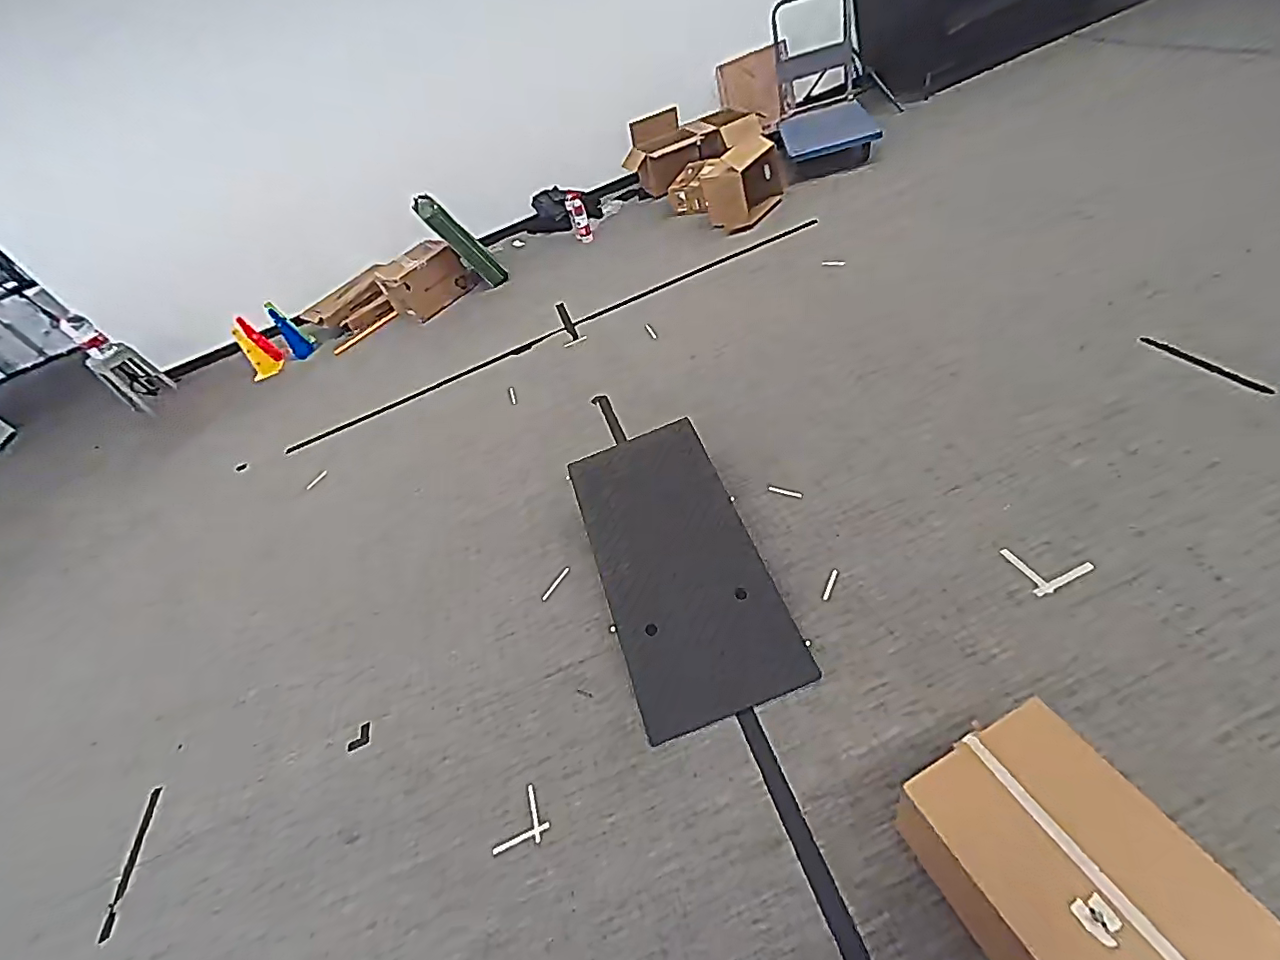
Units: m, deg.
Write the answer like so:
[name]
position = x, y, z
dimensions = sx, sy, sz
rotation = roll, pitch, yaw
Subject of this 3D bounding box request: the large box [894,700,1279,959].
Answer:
[large box]
position = 0.725, 0.691, 0.958
dimensions = 0.320, 0.320, 0.408
rotation = -29, 45, -6

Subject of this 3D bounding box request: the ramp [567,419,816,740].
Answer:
[ramp]
position = 0.104, 0.236, 1.731
dimensions = 0.509, 0.206, 0.991
rotation = -23, 44, -2
